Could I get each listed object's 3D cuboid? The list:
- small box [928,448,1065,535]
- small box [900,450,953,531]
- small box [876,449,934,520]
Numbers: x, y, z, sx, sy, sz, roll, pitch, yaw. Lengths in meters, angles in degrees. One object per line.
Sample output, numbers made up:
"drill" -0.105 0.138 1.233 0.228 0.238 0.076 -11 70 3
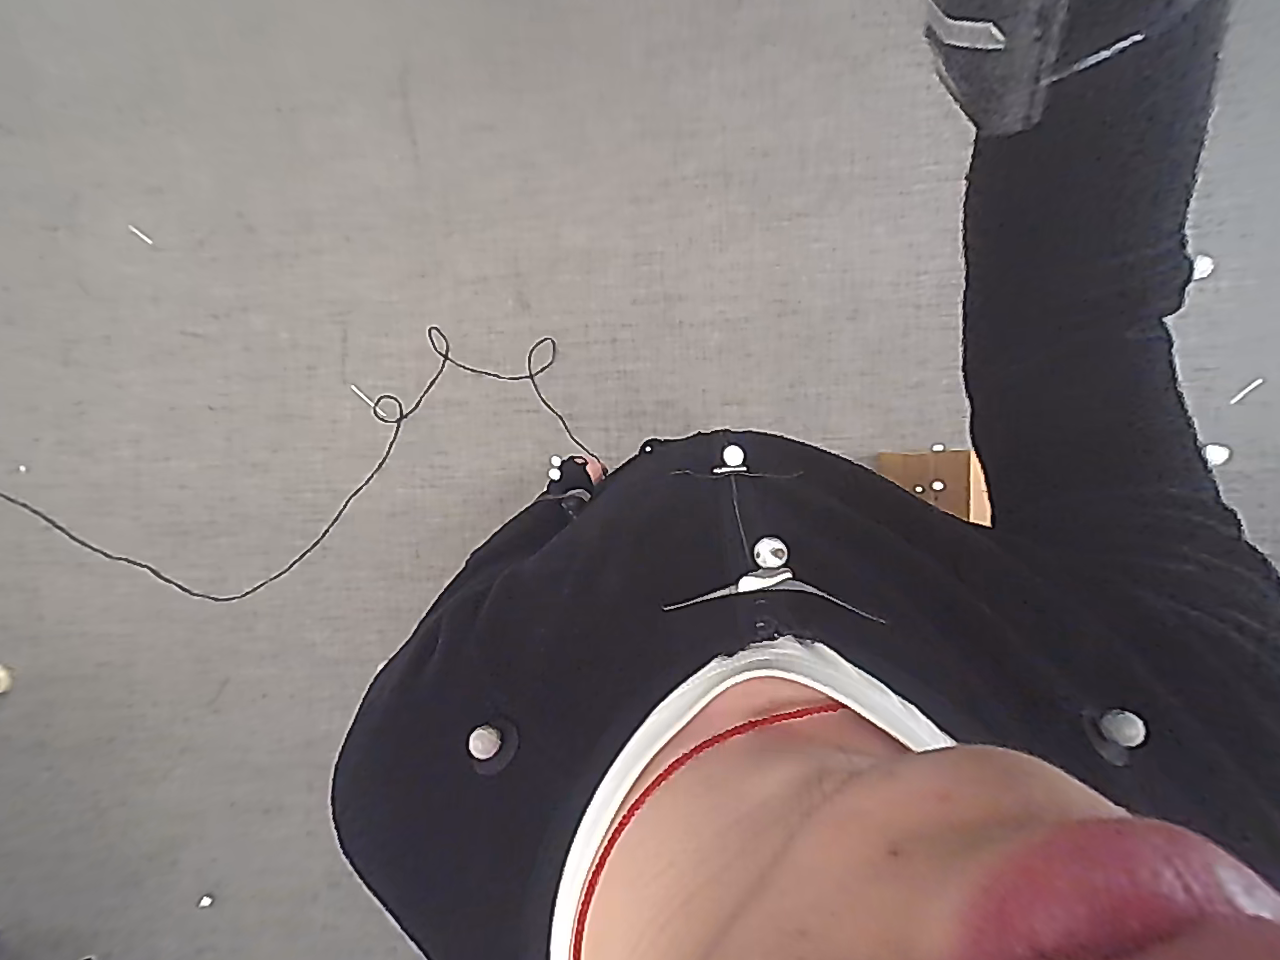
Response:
"small box" 0.719 0.018 1.106 0.179 0.176 0.168 0 92 6
"small box" 0.727 0.018 1.272 0.168 0.176 0.179 -2 95 5
"small box" 0.740 0.009 1.433 0.168 0.176 0.179 -1 94 4
